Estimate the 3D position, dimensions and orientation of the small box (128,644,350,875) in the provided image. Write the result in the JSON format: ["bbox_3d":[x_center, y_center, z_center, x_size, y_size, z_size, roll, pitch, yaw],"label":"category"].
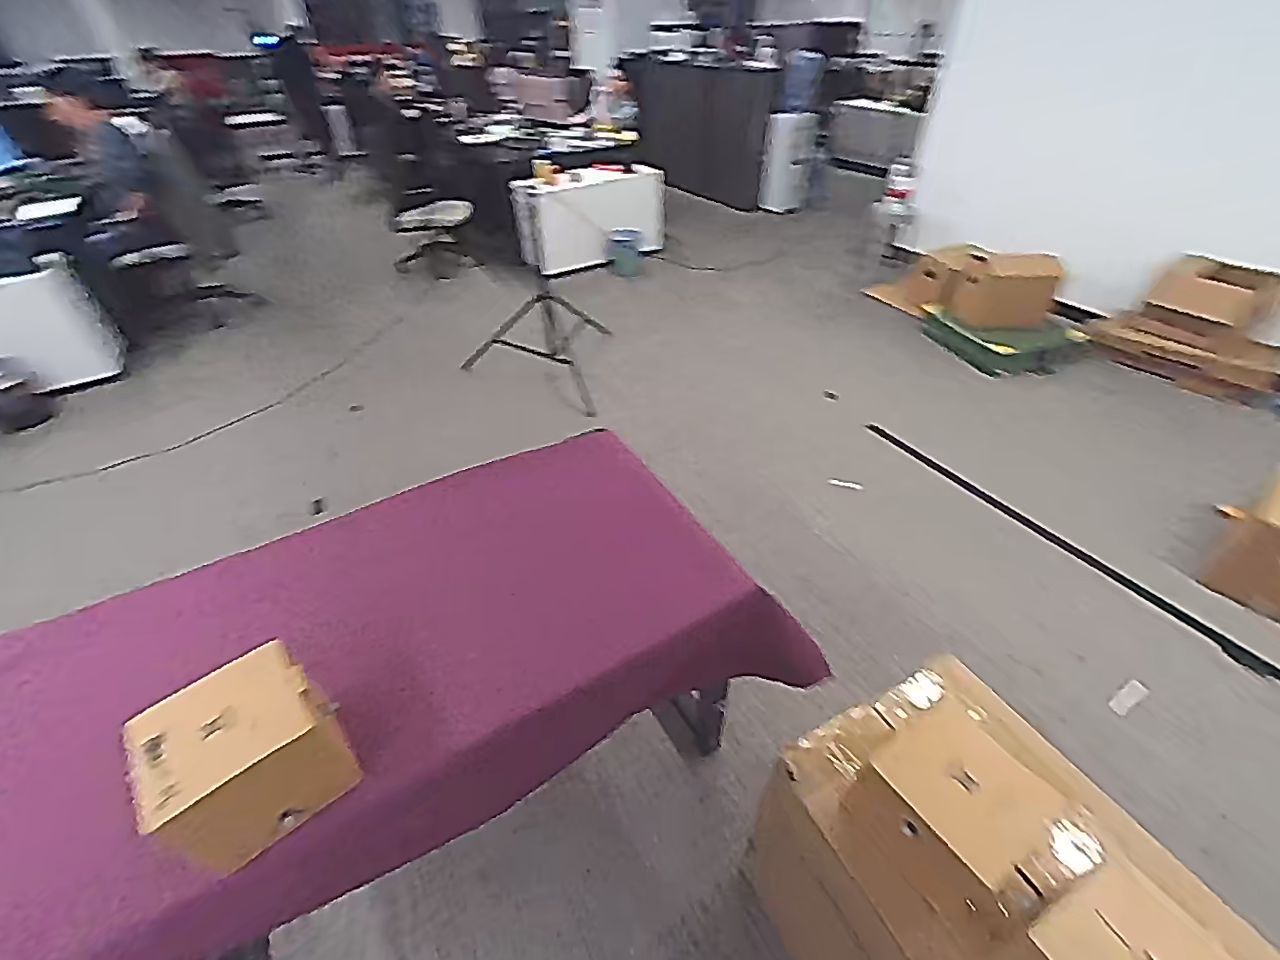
[{"bbox_3d":[-0.508,0.361,0.708,0.179,0.176,0.168,-30,48,-30],"label":"small box"}]

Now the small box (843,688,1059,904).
[{"bbox_3d":[0.413,0.436,0.749,0.168,0.176,0.179,-27,48,-24],"label":"small box"}]

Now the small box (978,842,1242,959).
[{"bbox_3d":[0.527,0.558,0.600,0.168,0.176,0.179,-22,43,-21],"label":"small box"}]
